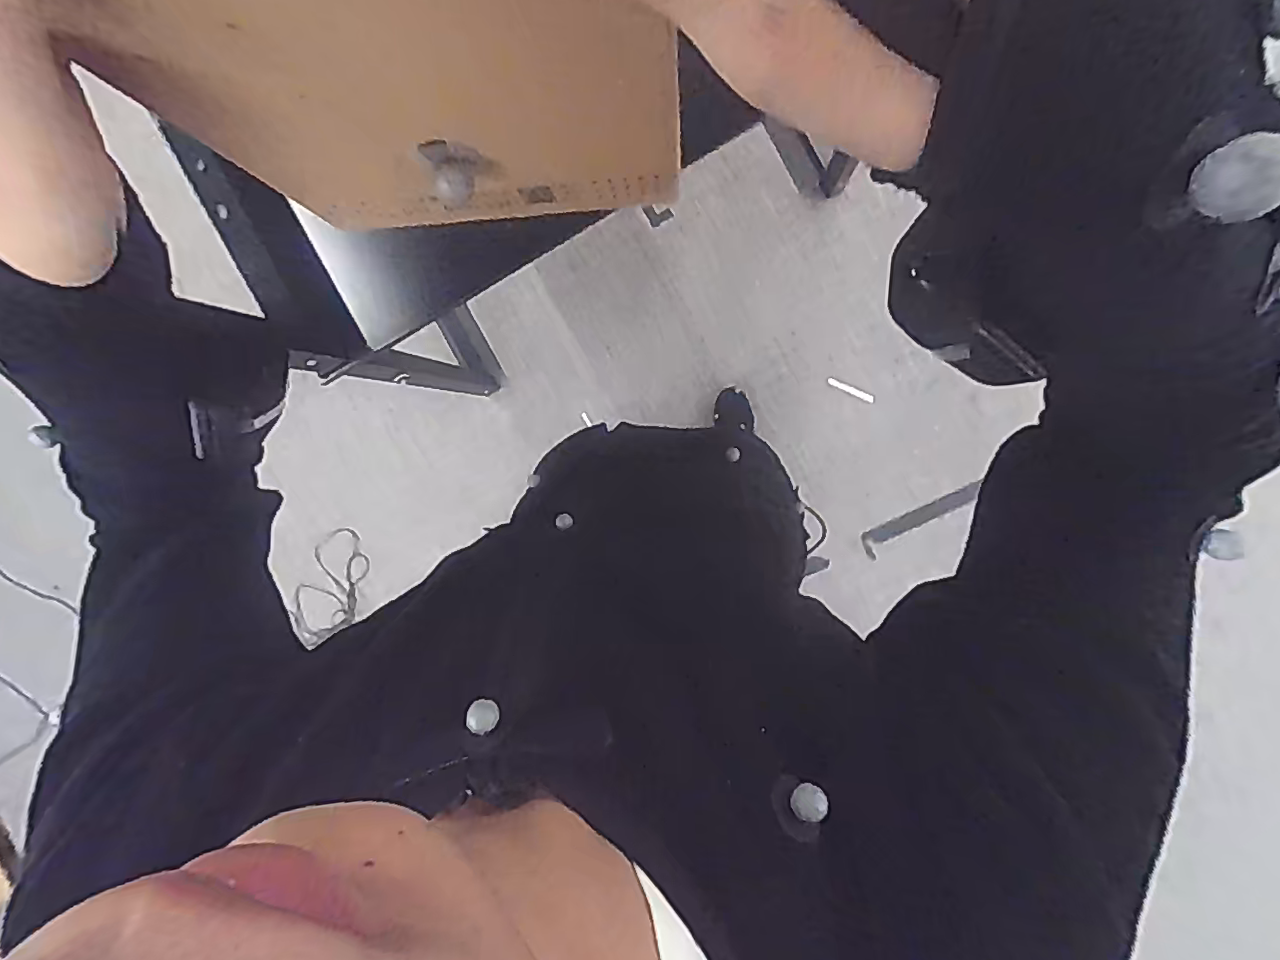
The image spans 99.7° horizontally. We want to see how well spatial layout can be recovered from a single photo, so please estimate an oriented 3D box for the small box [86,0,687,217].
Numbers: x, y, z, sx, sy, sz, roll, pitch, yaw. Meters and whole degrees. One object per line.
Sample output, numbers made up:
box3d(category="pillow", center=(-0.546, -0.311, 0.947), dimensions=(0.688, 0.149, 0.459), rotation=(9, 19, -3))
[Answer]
box3d(category="small box", center=(-0.070, -0.206, 0.163), dimensions=(0.168, 0.176, 0.179), rotation=(-1, 93, 6))
